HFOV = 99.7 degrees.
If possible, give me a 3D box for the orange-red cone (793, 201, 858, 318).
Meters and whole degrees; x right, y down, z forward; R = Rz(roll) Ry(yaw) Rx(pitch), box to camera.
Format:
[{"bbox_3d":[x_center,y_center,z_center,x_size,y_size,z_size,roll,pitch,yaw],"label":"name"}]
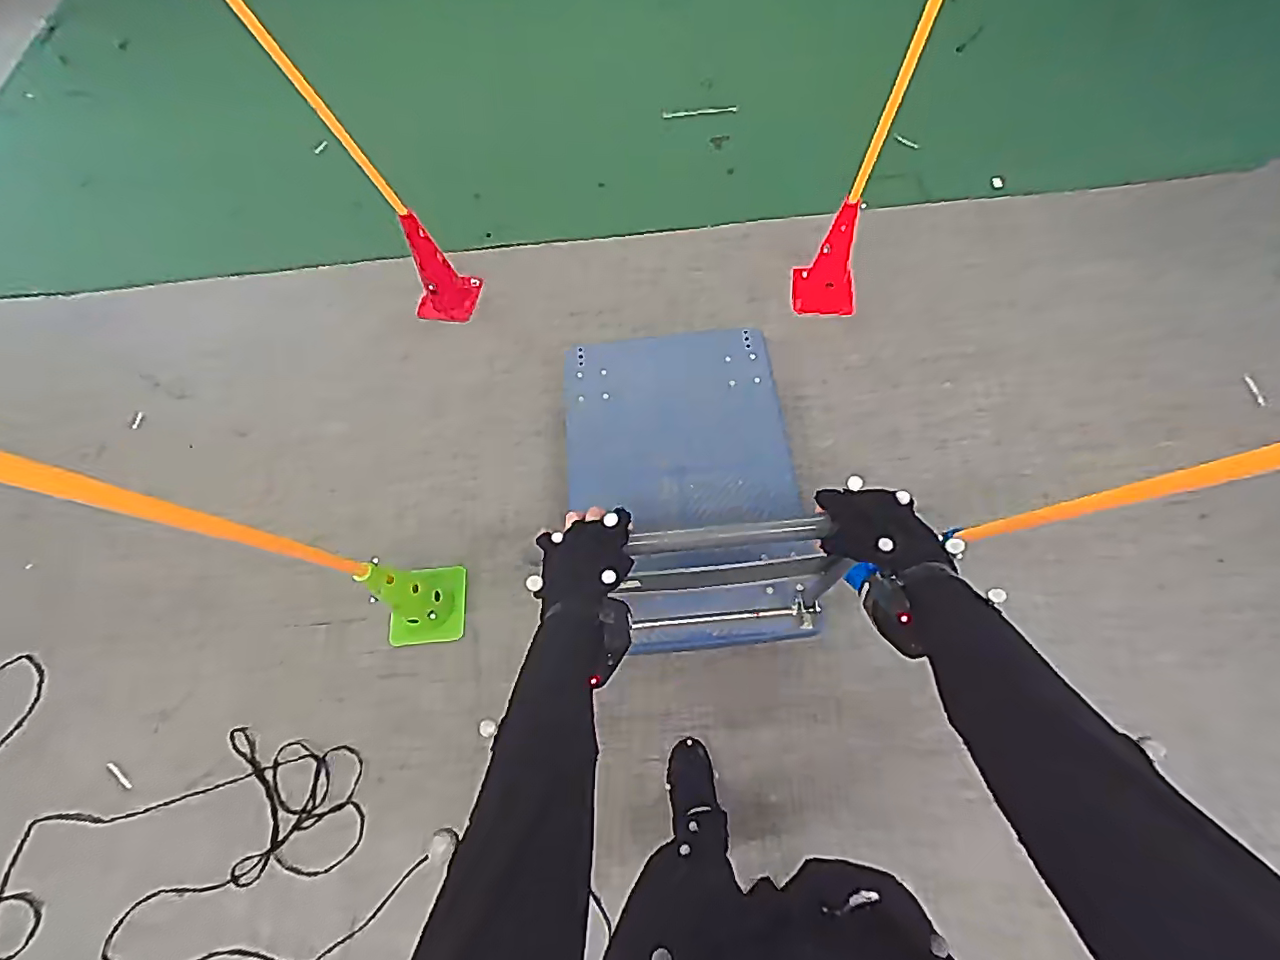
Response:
[{"bbox_3d":[0.606,-0.695,1.671,0.198,0.360,0.199,5,67,7],"label":"orange-red cone"}]
